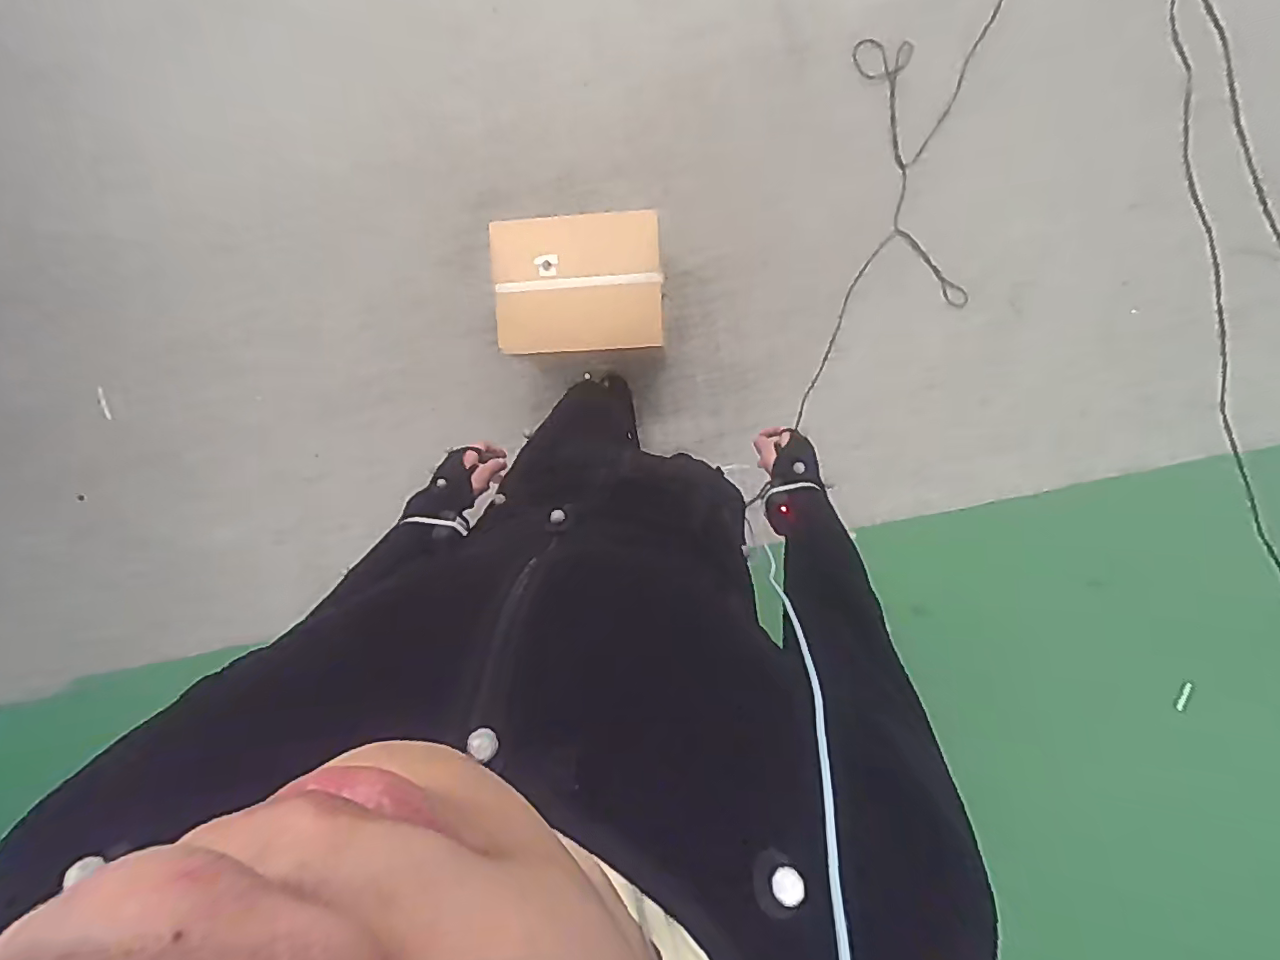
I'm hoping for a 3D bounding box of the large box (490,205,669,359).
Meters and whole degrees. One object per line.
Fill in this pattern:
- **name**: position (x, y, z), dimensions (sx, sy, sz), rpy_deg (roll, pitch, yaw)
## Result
- **large box**: position (-0.137, -0.494, 1.425), dimensions (0.408, 0.320, 0.320), rpy_deg (-1, 97, 6)
